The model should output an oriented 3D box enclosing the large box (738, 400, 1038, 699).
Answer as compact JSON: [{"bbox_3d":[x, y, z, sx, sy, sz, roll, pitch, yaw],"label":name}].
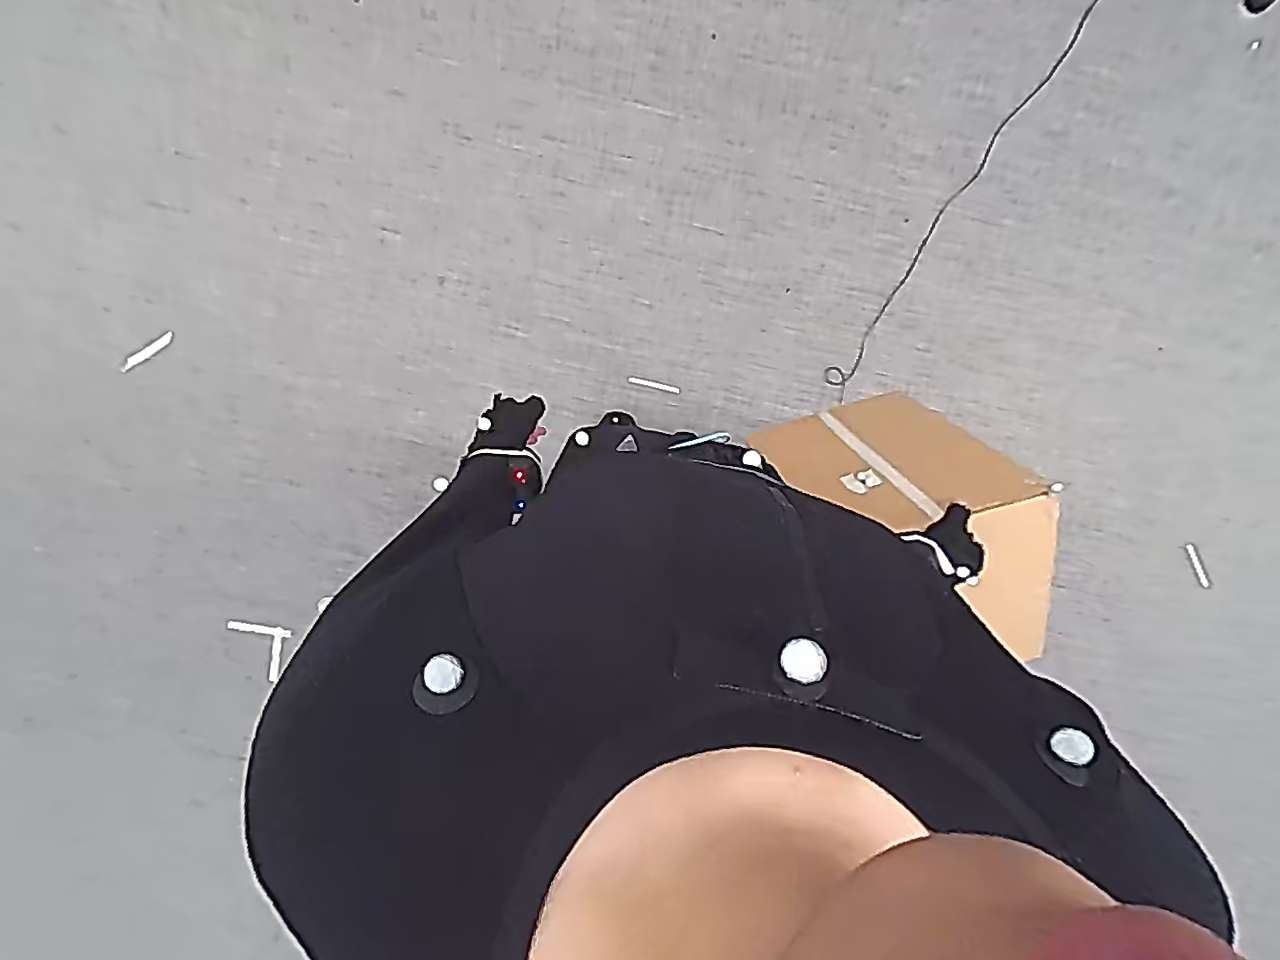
[{"bbox_3d":[0.397,0.099,0.967,0.320,0.408,0.320,-16,119,2],"label":"large box"}]
